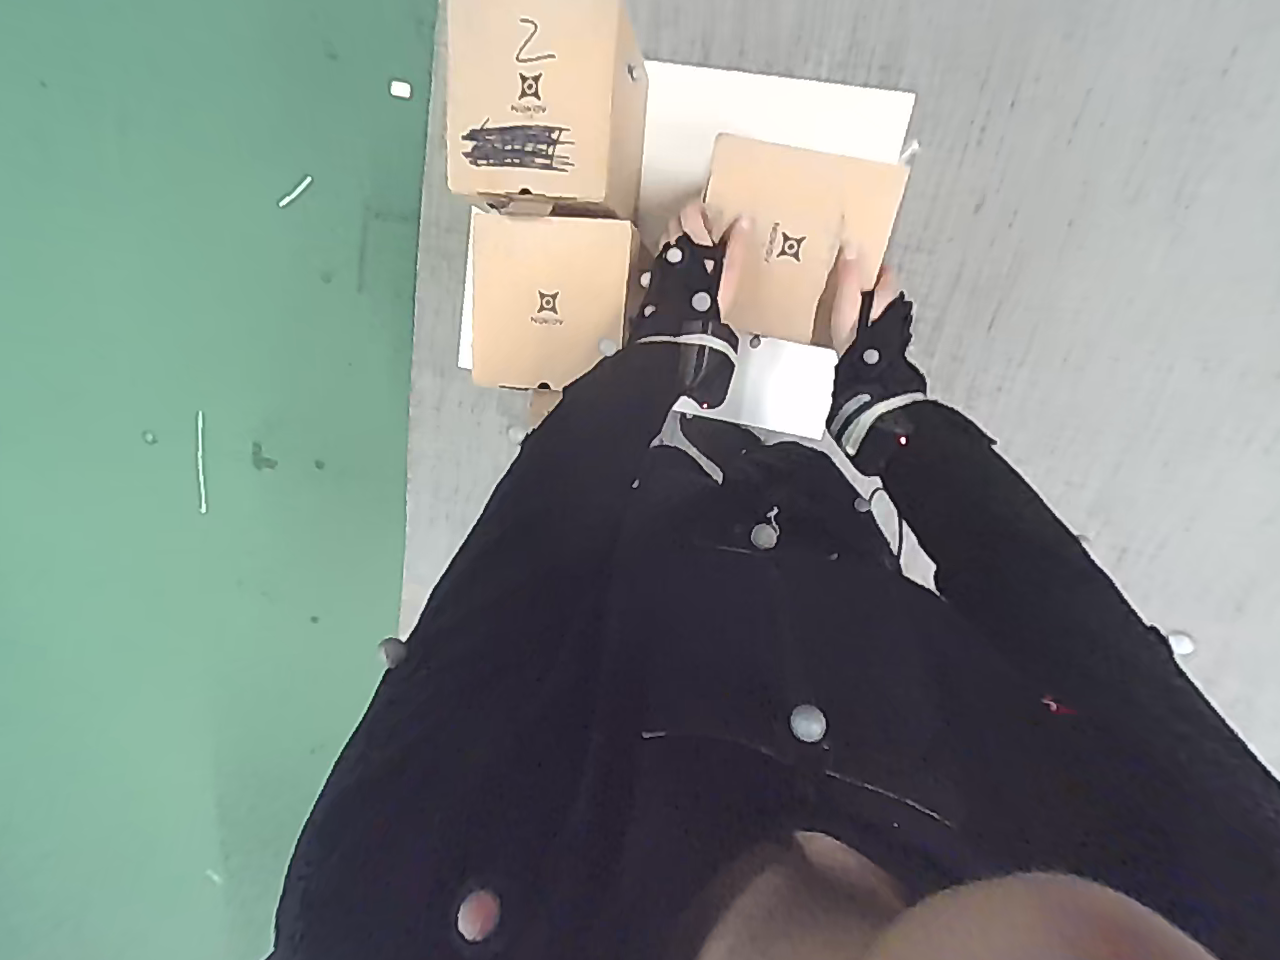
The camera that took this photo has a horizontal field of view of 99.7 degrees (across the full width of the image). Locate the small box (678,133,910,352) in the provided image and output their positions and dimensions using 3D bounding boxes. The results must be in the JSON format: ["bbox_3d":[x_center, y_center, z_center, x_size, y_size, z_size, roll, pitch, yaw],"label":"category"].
[{"bbox_3d":[0.149,-0.239,0.577,0.179,0.176,0.168,13,109,5],"label":"small box"}]
